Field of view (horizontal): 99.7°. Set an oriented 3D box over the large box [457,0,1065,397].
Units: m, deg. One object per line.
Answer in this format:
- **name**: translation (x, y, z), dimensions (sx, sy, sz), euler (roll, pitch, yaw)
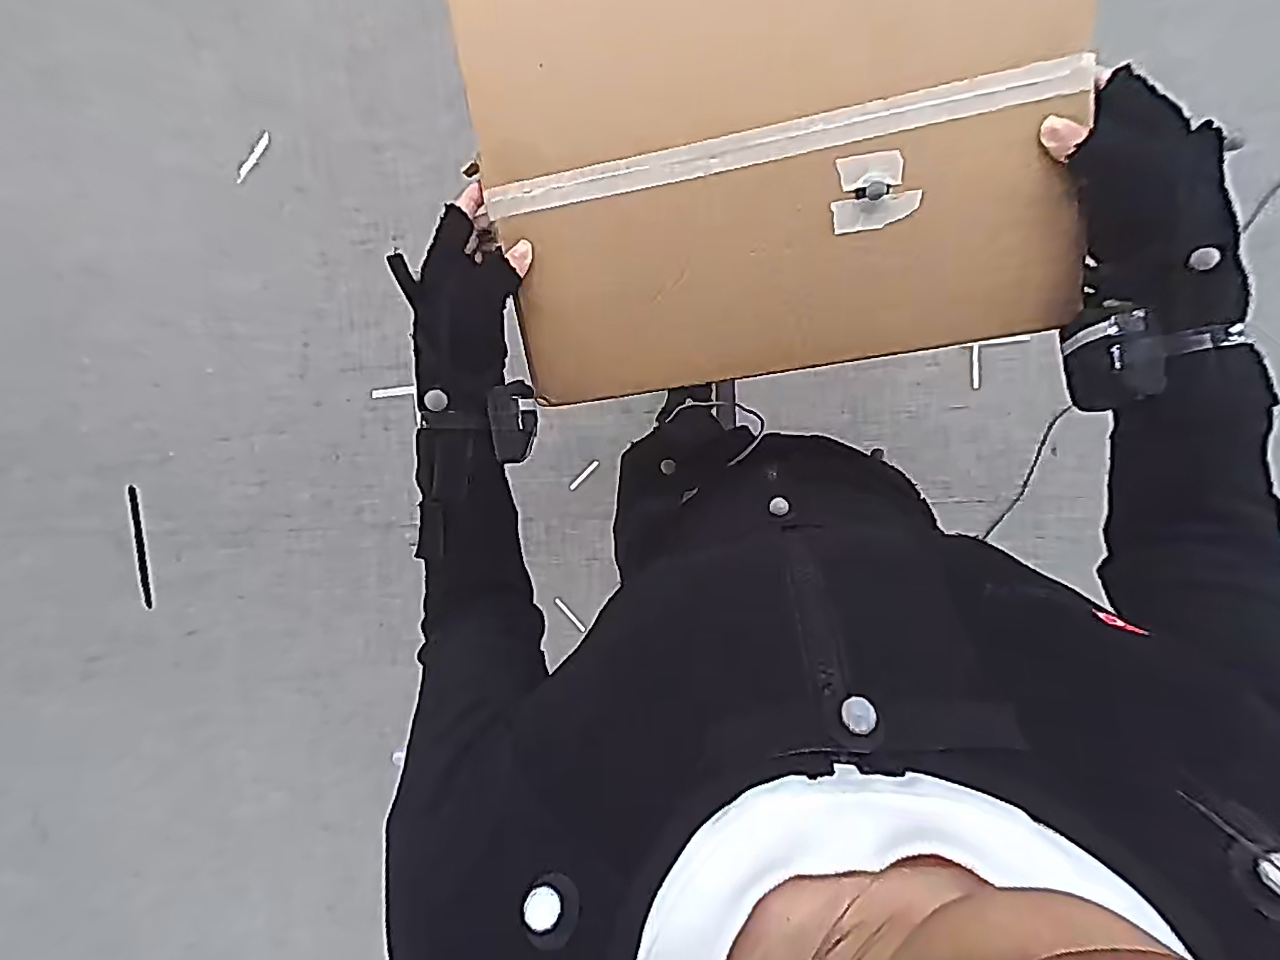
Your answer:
- **large box**: translation (0.101, -0.283, 0.533), dimensions (0.408, 0.320, 0.320), euler (-8, 106, 8)
